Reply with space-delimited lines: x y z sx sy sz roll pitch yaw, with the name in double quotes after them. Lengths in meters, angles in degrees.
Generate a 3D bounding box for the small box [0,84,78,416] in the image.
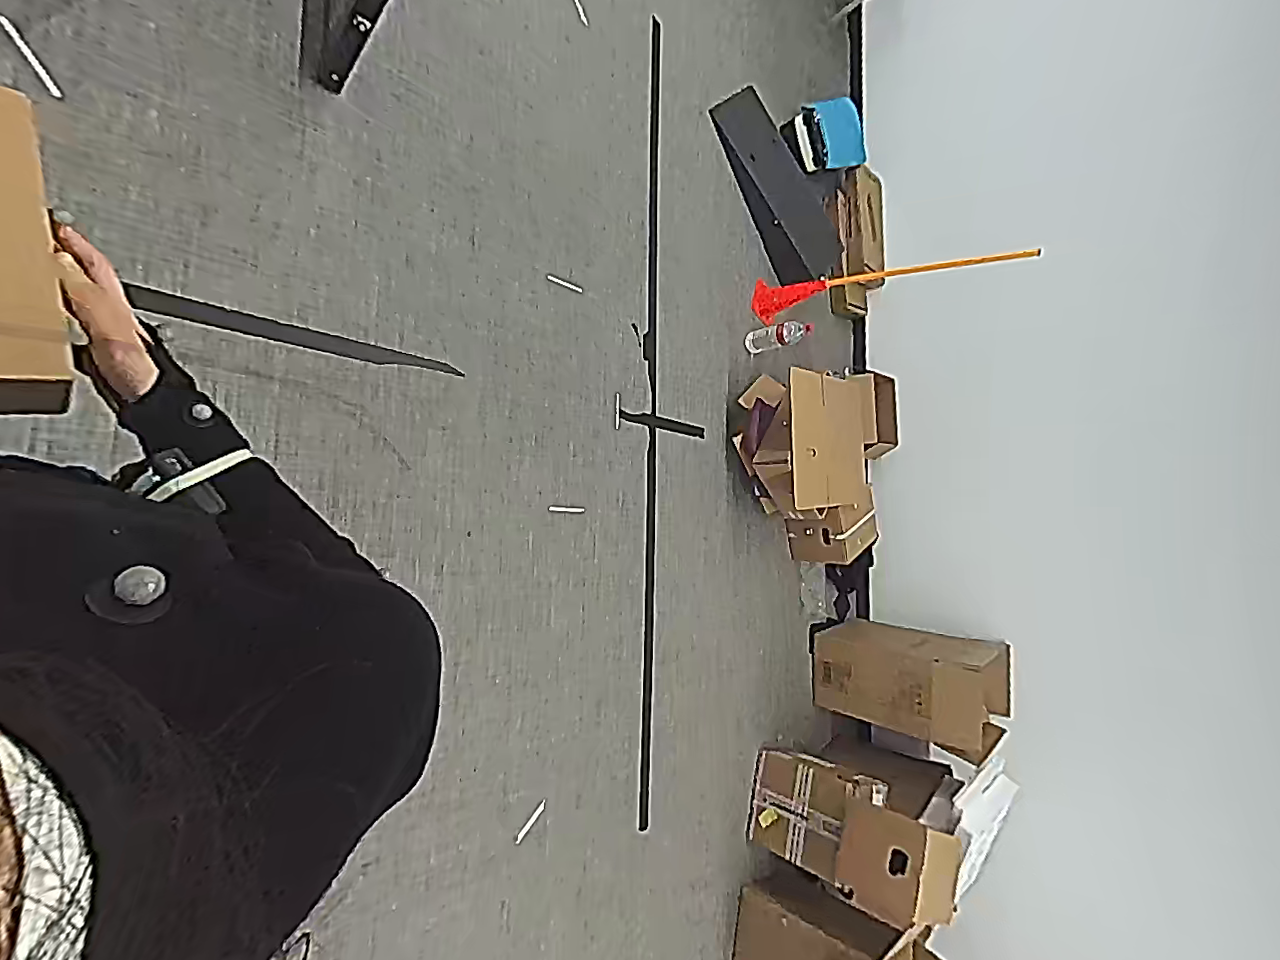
-0.470 -0.136 0.322 0.168 0.176 0.179 -9 95 -48 "small box"
